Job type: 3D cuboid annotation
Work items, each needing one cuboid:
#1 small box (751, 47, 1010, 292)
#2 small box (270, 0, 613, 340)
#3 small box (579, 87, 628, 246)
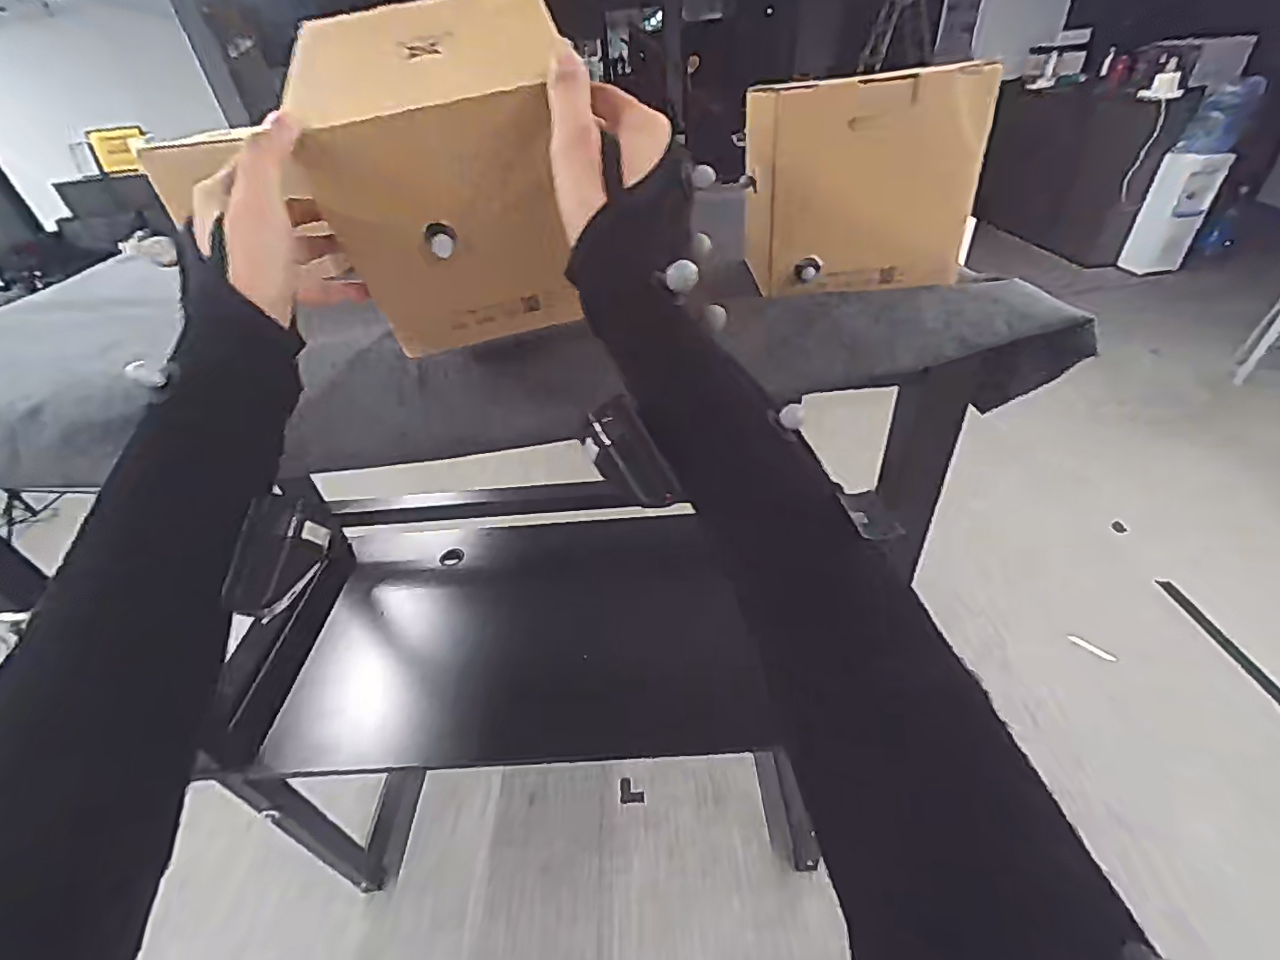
[{"bbox_3d":[0.197,-0.280,0.504,0.168,0.176,0.179,-3,35,5],"label":"small box"},{"bbox_3d":[-0.123,-0.222,0.389,0.168,0.176,0.179,-15,57,-4],"label":"small box"},{"bbox_3d":[-0.107,-0.425,0.739,0.168,0.176,0.179,-5,38,2],"label":"small box"}]
